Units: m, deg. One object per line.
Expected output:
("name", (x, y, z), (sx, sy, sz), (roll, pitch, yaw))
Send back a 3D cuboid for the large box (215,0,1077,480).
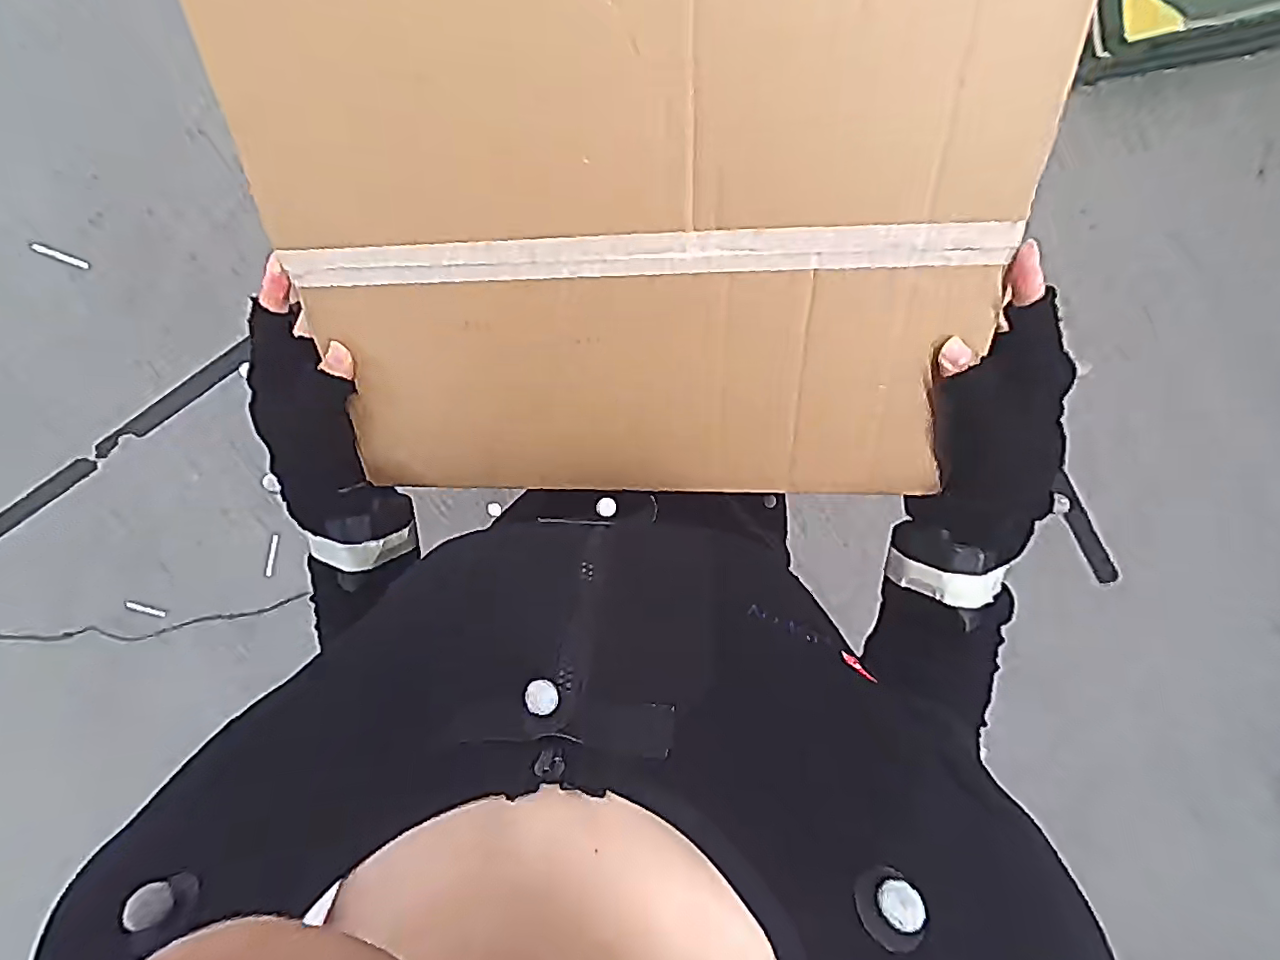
("large box", (0.010, -0.209, 0.431), (0.408, 0.320, 0.320), (1, 124, 6))
